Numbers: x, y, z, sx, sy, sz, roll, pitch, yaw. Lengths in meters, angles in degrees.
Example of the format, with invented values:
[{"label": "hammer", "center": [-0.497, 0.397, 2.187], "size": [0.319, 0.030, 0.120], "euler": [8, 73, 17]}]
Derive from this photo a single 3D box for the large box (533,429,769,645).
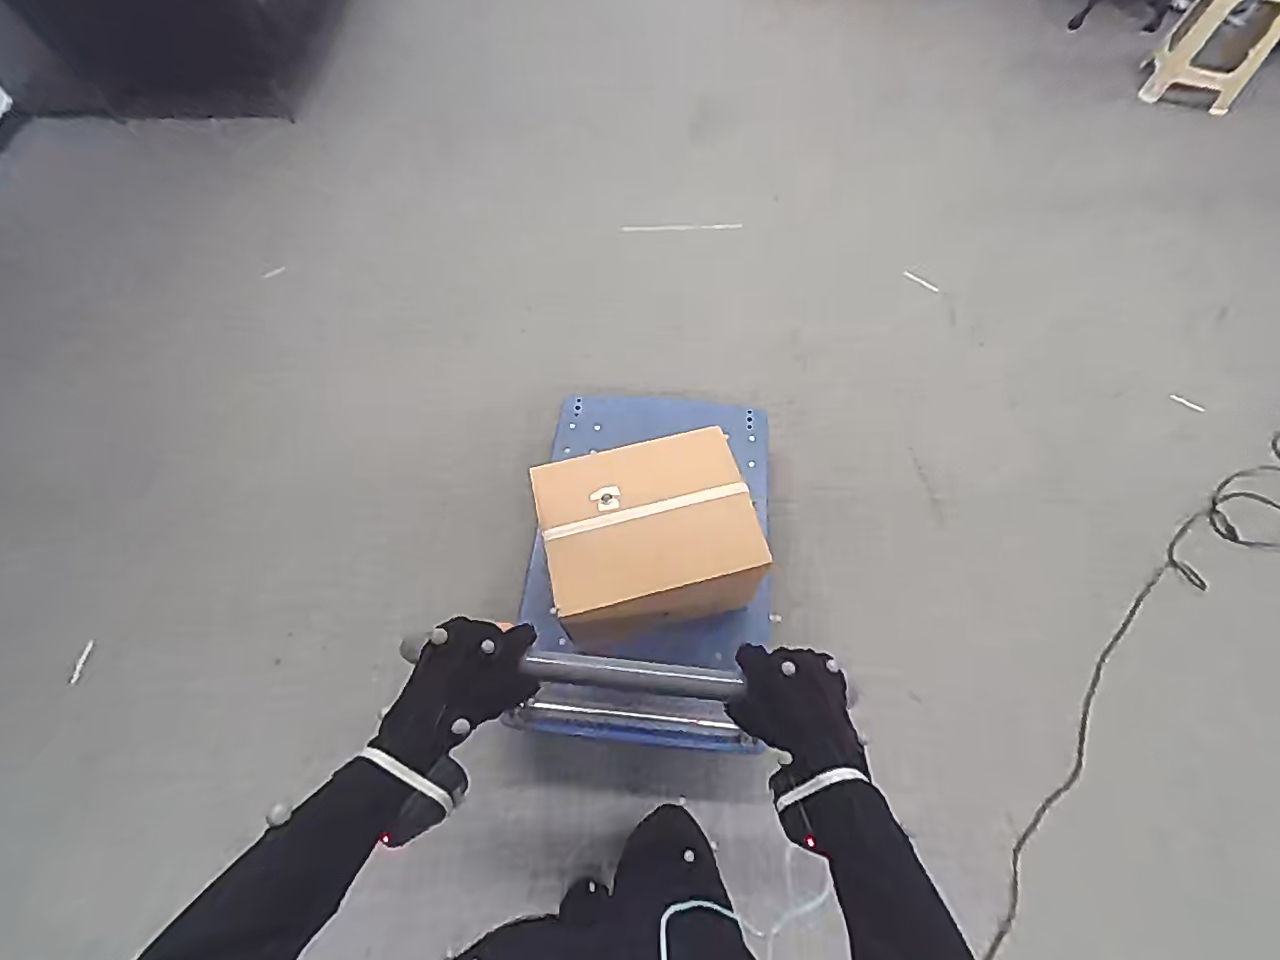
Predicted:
[{"label": "large box", "center": [0.017, 0.135, 1.176], "size": [0.408, 0.320, 0.320], "euler": [-13, 62, -5]}]
